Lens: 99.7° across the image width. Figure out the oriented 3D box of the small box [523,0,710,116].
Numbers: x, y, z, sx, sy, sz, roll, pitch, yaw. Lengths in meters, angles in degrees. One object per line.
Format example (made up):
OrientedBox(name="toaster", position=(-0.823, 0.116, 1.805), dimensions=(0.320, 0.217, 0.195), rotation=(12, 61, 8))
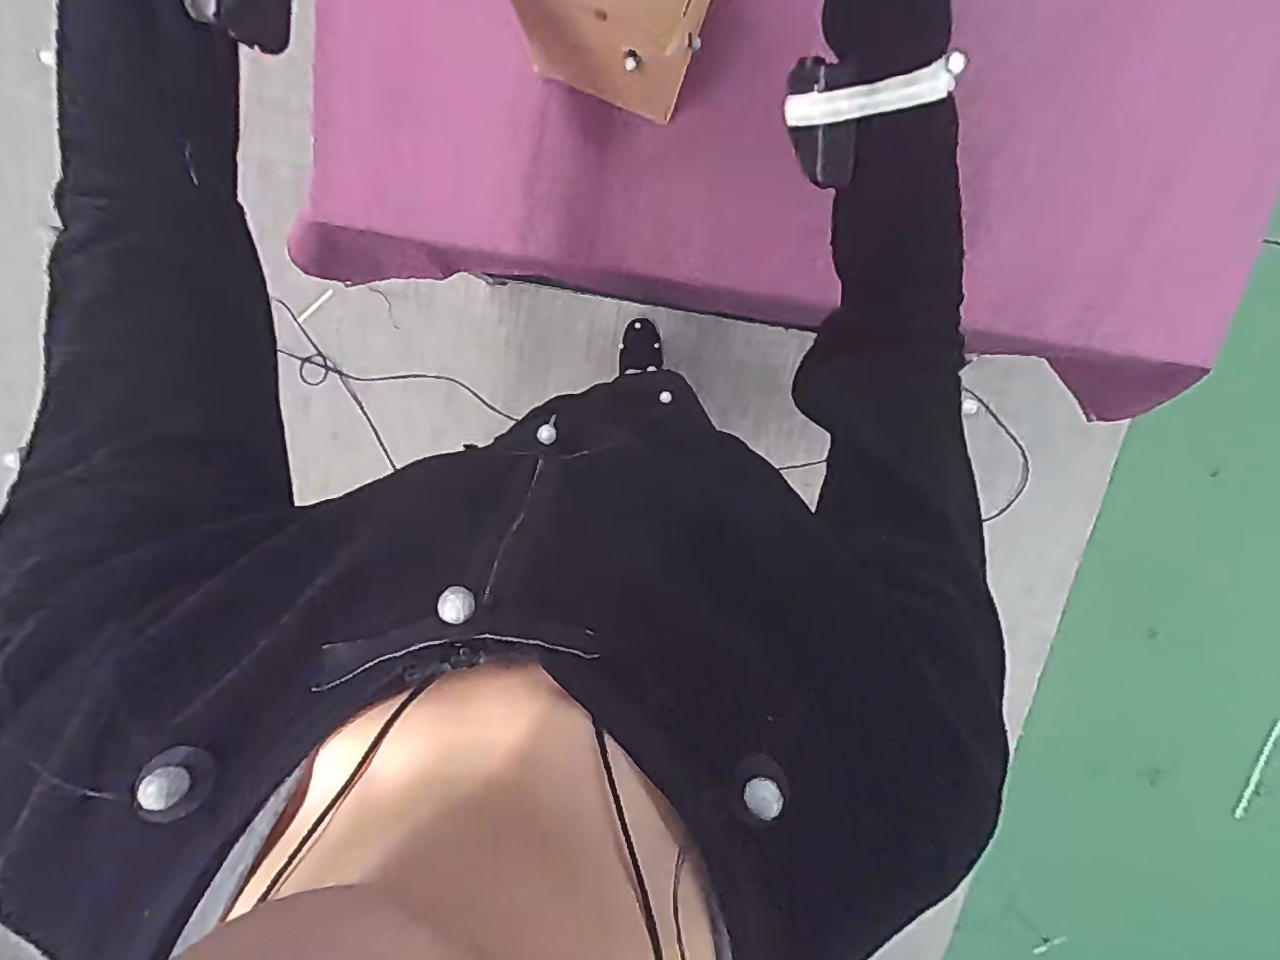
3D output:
OrientedBox(name="small box", position=(-0.020, -0.532, 0.577), dimensions=(0.179, 0.176, 0.168), rotation=(20, 101, -5))
